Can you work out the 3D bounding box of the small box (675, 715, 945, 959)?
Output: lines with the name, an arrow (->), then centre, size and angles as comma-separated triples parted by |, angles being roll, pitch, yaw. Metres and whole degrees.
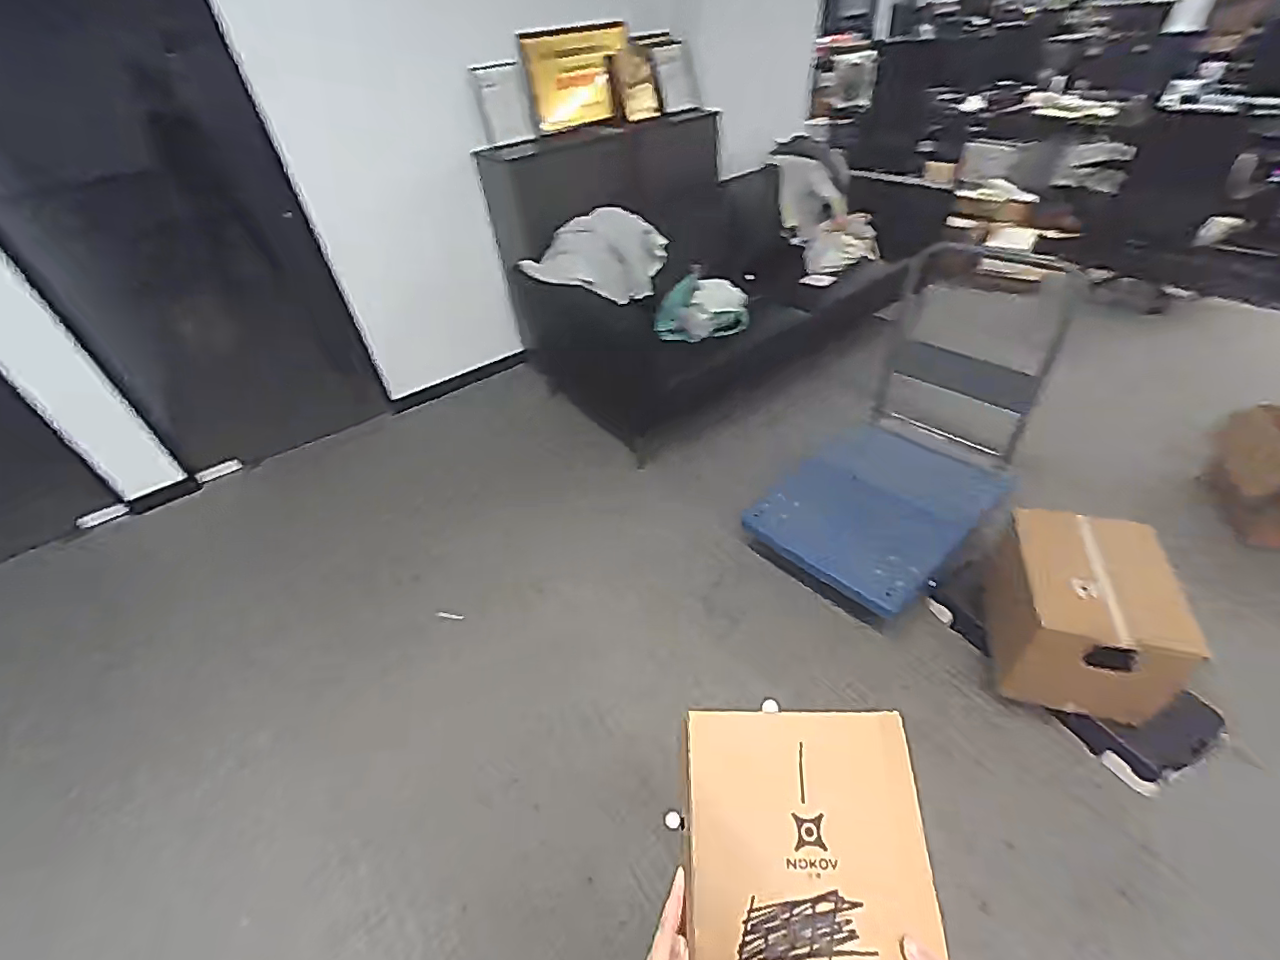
small box -> 0.116, 0.293, 0.445 | 0.168, 0.176, 0.179 | 0, 63, 0
